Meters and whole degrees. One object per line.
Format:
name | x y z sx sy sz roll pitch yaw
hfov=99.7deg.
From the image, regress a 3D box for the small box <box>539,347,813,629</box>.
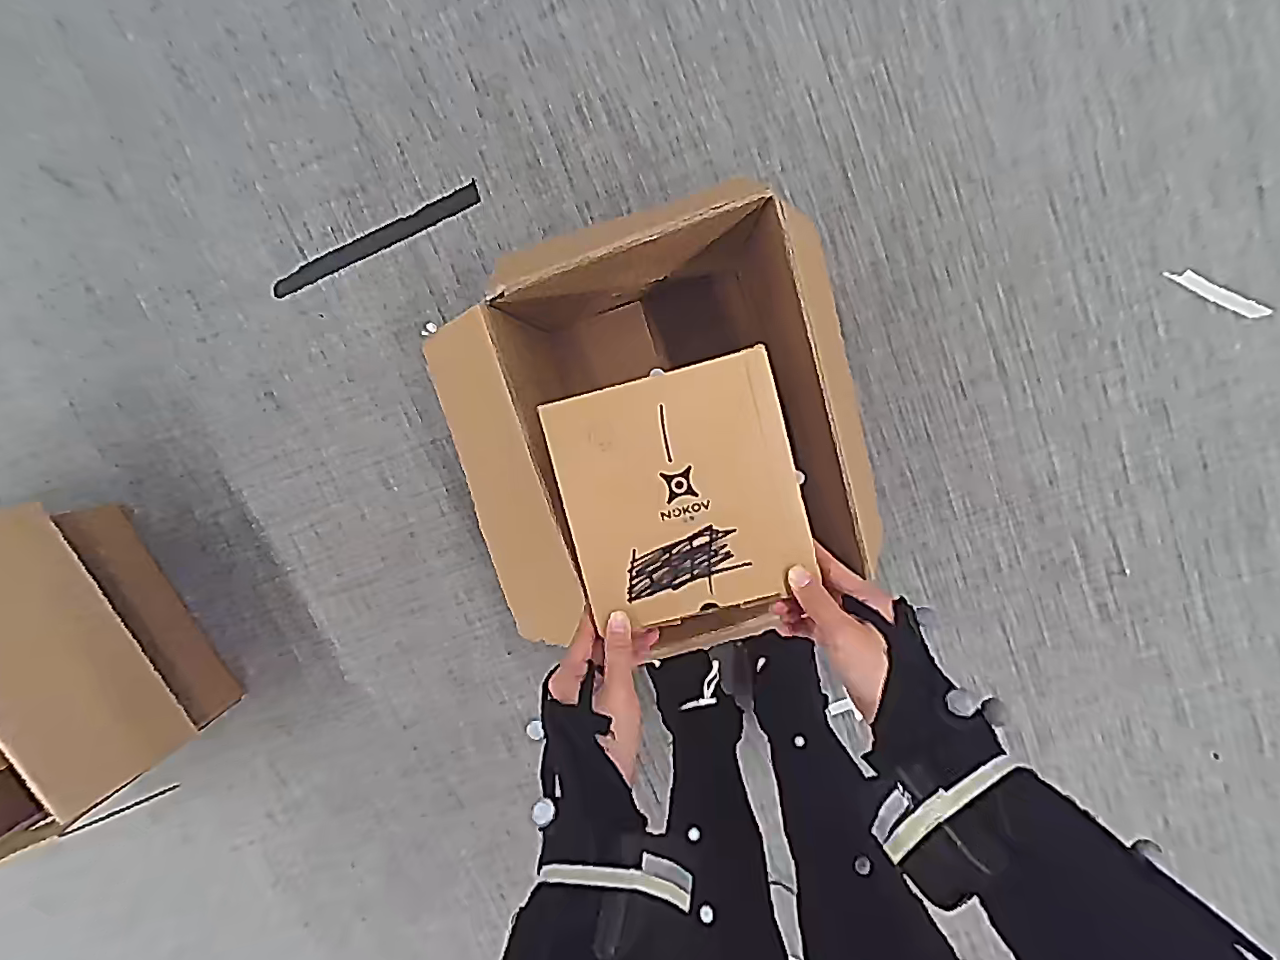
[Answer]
small box | 0.031 0.002 0.465 0.168 0.176 0.179 -14 93 4
